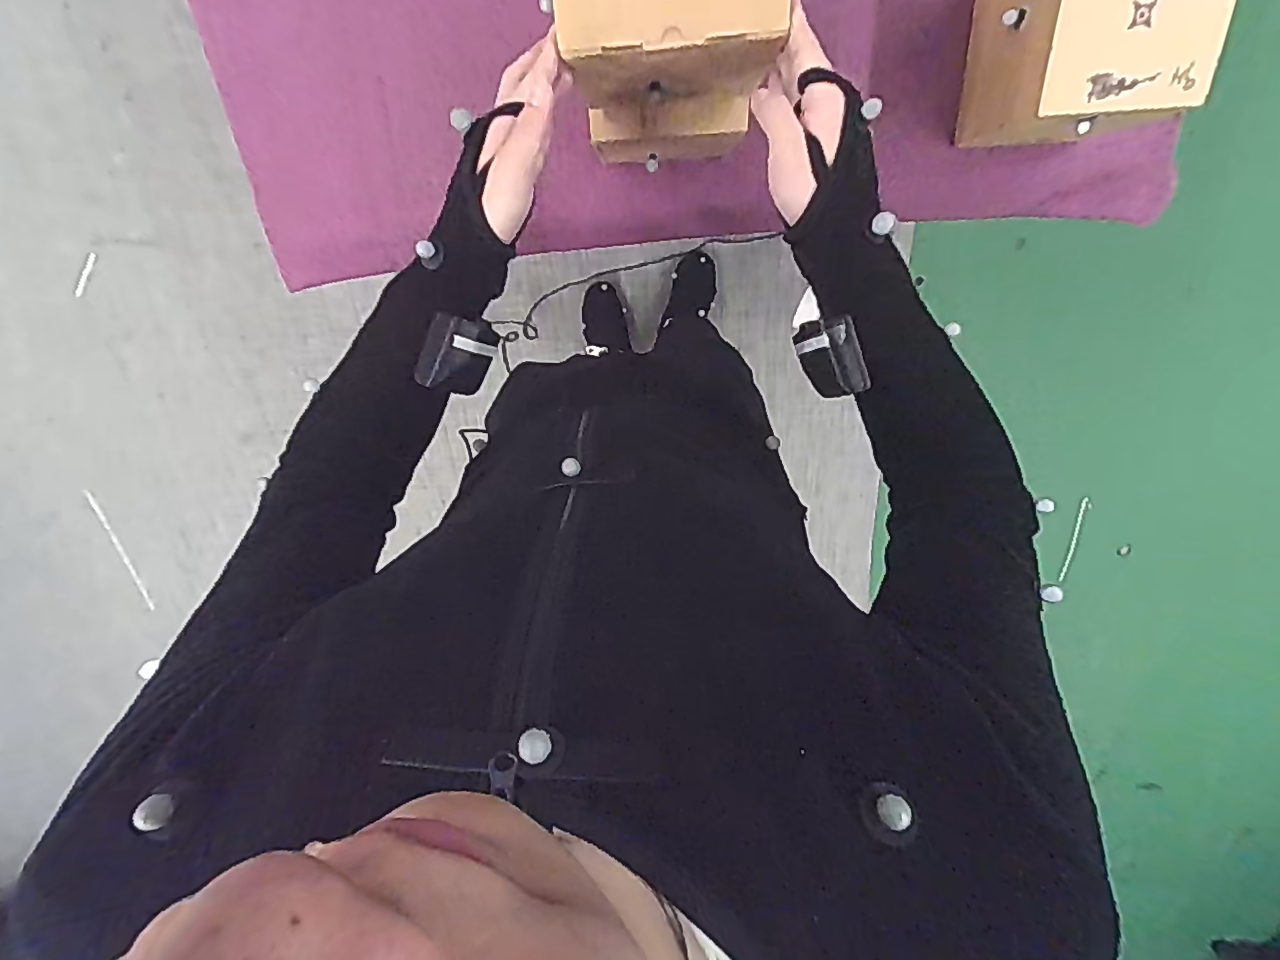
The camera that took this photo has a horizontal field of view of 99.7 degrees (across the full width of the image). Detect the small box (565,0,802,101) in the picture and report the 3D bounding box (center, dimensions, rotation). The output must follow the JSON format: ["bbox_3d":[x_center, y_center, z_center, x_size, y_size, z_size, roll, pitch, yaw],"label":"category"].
[{"bbox_3d":[0.025,-0.420,0.417,0.168,0.176,0.179,-4,115,2],"label":"small box"}]

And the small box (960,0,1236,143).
[{"bbox_3d":[0.480,-0.486,0.585,0.168,0.176,0.179,-2,112,2],"label":"small box"}]
